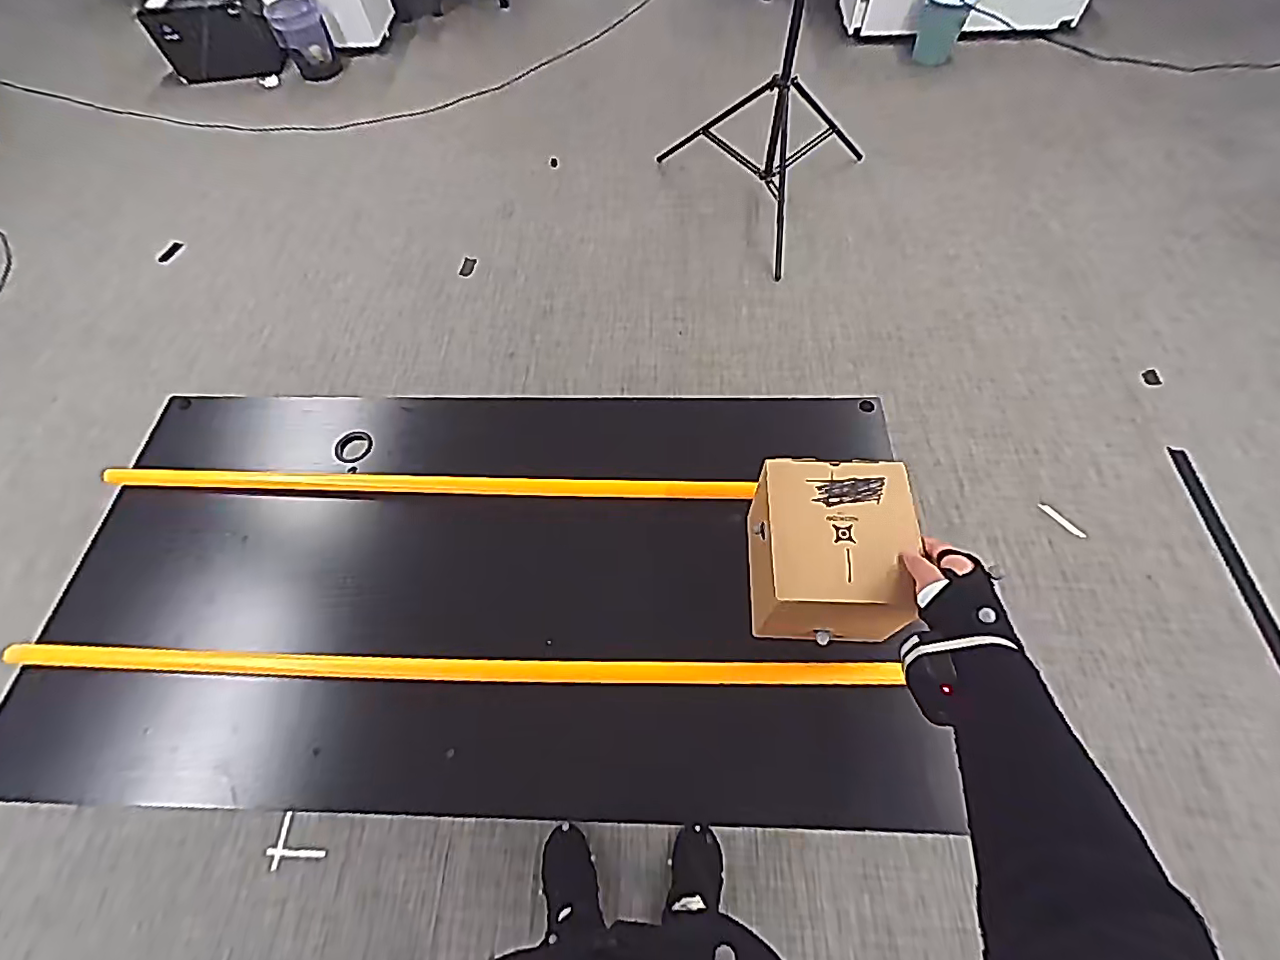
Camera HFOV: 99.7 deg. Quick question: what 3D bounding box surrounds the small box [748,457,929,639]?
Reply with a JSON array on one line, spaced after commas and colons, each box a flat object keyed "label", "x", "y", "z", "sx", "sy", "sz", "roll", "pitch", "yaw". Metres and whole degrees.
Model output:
[{"label": "small box", "x": 0.231, "y": 0.089, "z": 0.682, "sx": 0.168, "sy": 0.176, "sz": 0.179, "roll": 1, "pitch": 61, "yaw": 4}]
